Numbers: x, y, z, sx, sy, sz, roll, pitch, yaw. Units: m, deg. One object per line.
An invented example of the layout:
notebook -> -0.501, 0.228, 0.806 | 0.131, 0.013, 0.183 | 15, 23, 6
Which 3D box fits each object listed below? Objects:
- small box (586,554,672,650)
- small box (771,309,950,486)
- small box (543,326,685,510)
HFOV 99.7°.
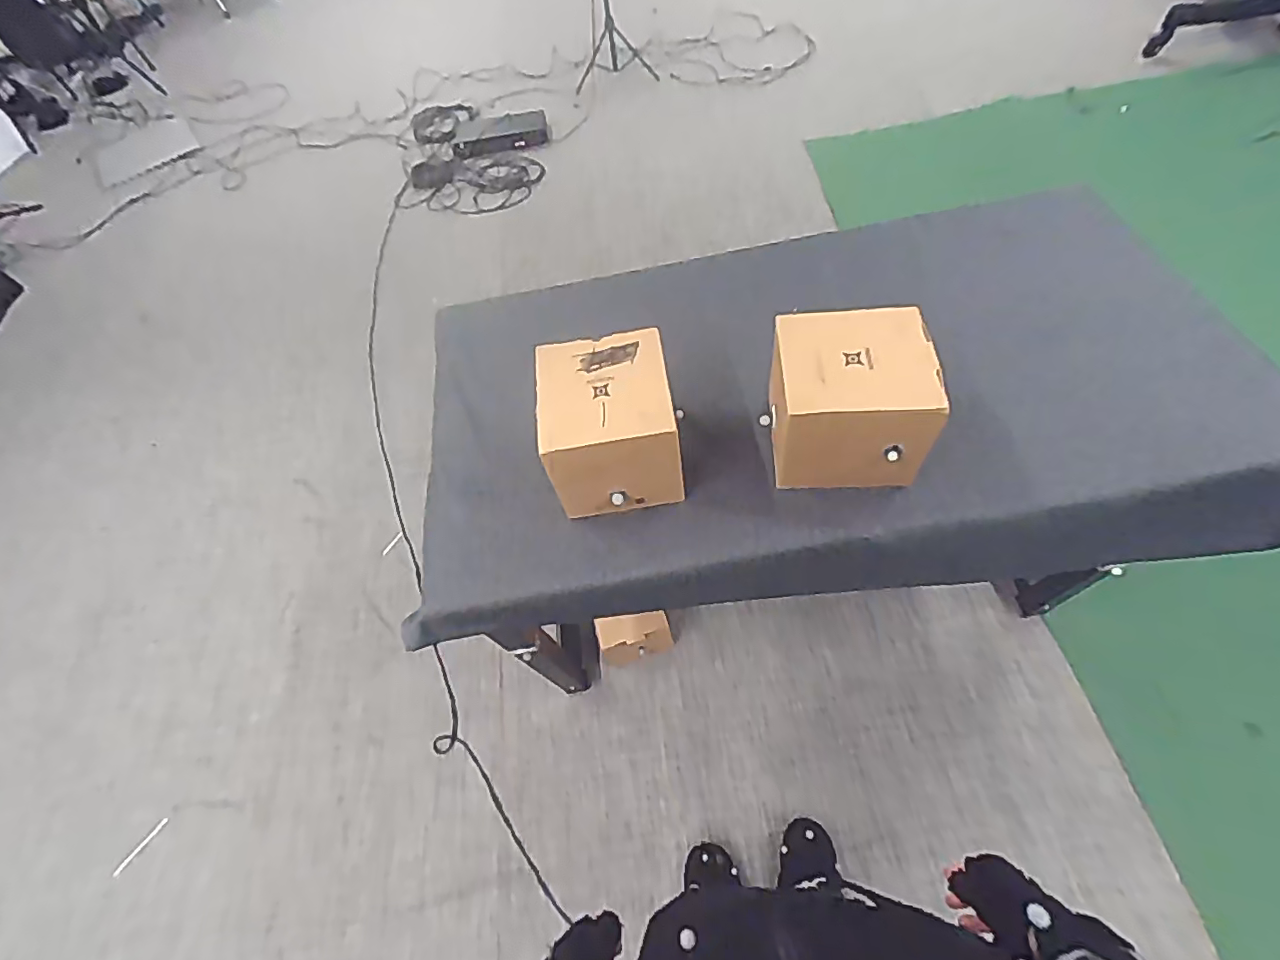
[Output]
small box -> -0.023, 0.315, 1.362 | 0.168, 0.176, 0.179 | -17, 60, -3
small box -> 0.272, -0.101, 0.714 | 0.179, 0.176, 0.168 | -2, 59, 9
small box -> -0.032, -0.080, 0.740 | 0.168, 0.176, 0.179 | -8, 59, 3
